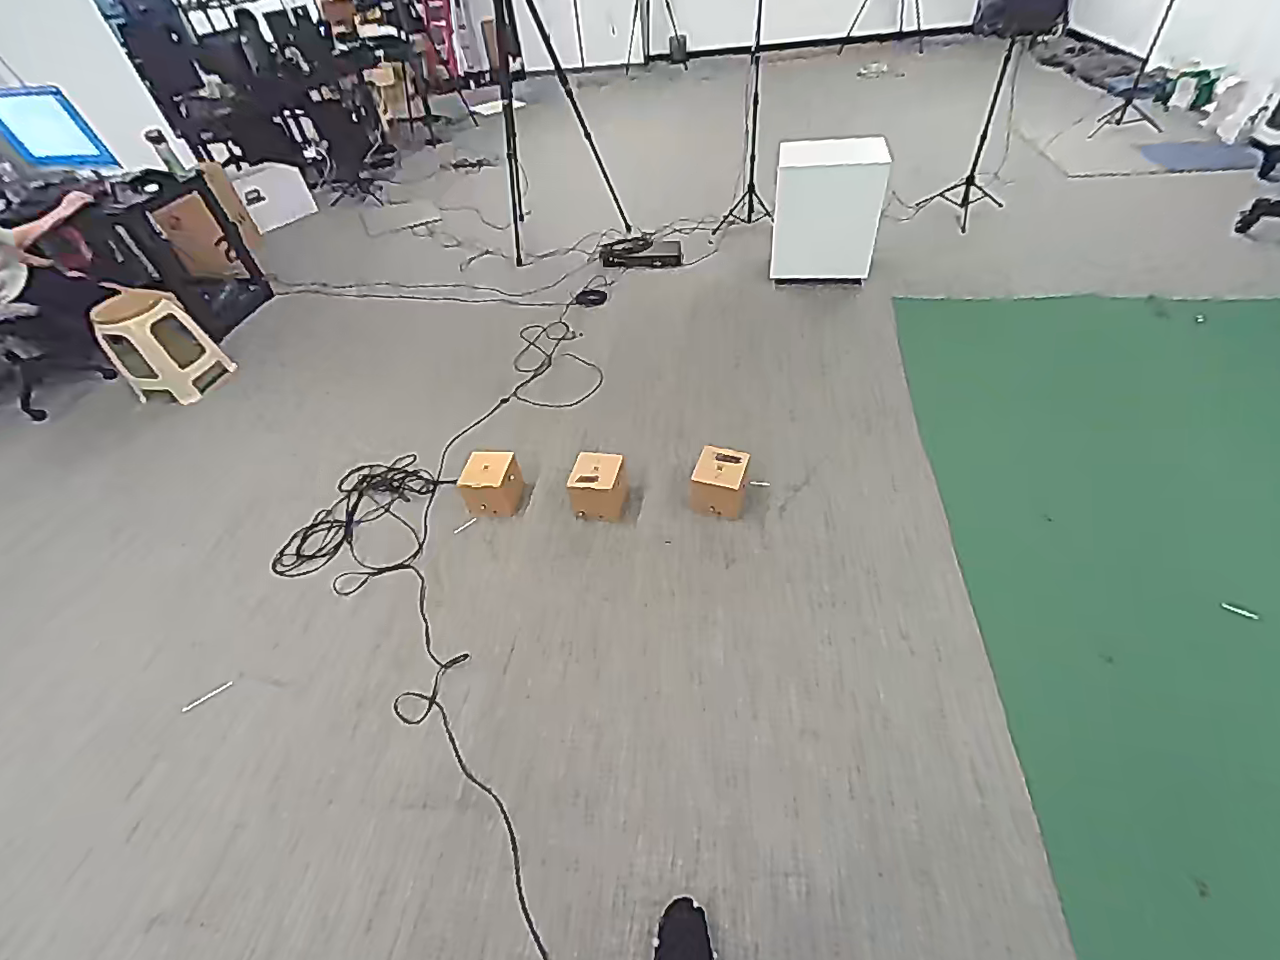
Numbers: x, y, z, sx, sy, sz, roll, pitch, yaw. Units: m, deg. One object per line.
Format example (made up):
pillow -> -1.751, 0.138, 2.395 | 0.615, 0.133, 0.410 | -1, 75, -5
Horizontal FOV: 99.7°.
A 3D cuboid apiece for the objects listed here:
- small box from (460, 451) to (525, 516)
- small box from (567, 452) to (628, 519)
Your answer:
small box -> -0.542, 0.011, 2.013 | 0.168, 0.176, 0.179 | 2, 47, 10
small box -> -0.144, 0.022, 1.947 | 0.168, 0.176, 0.179 | 6, 47, 13
